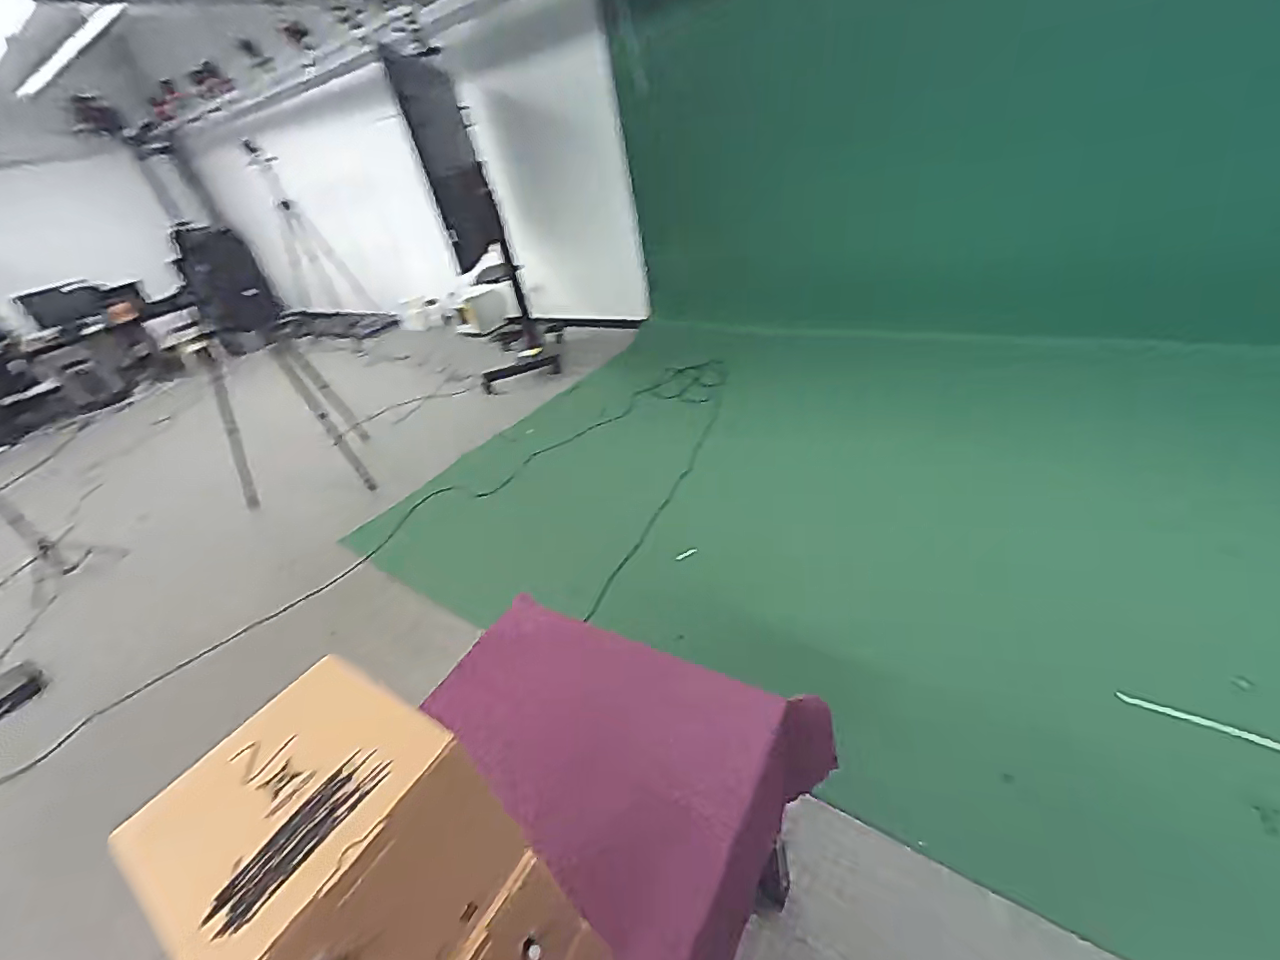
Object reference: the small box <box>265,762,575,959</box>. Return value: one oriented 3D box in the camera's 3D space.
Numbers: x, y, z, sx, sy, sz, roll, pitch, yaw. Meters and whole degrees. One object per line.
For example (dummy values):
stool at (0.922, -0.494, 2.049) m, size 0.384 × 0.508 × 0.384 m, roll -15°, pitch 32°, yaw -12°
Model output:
small box at (-0.186, 0.412, 0.499) m, size 0.179 × 0.176 × 0.168 m, roll 12°, pitch 40°, yaw 35°

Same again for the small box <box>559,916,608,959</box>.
small box at (-0.150, 0.546, 0.585) m, size 0.179 × 0.176 × 0.168 m, roll 11°, pitch 40°, yaw 33°
